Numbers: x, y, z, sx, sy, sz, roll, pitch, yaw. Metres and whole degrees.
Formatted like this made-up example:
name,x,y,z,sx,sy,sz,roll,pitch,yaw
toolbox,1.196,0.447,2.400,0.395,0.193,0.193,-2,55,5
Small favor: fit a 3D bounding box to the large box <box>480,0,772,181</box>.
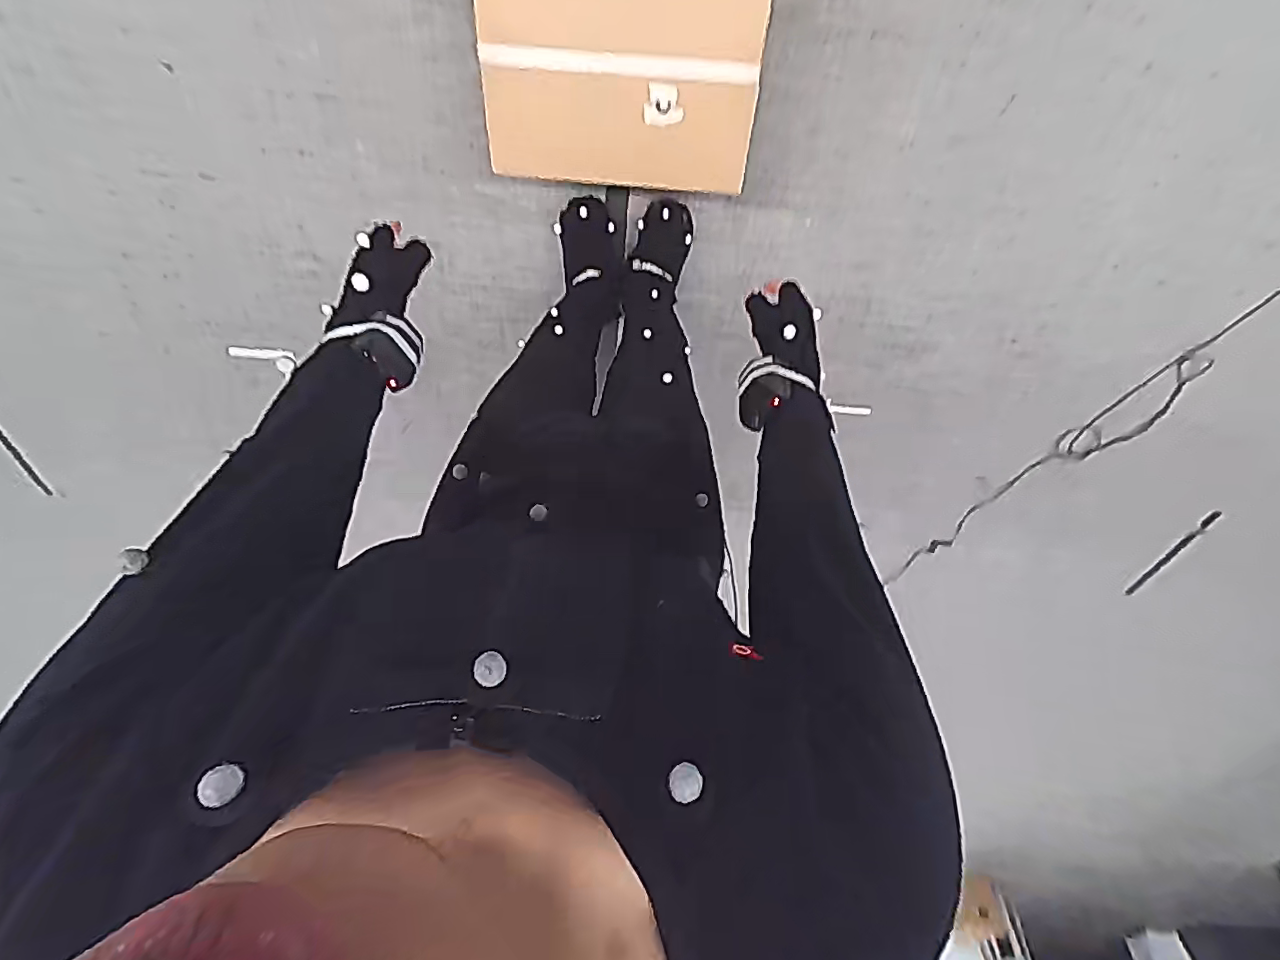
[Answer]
name,x,y,z,sx,sy,sz,roll,pitch,yaw
large box,-0.021,-0.700,0.882,0.408,0.320,0.320,4,130,-1
